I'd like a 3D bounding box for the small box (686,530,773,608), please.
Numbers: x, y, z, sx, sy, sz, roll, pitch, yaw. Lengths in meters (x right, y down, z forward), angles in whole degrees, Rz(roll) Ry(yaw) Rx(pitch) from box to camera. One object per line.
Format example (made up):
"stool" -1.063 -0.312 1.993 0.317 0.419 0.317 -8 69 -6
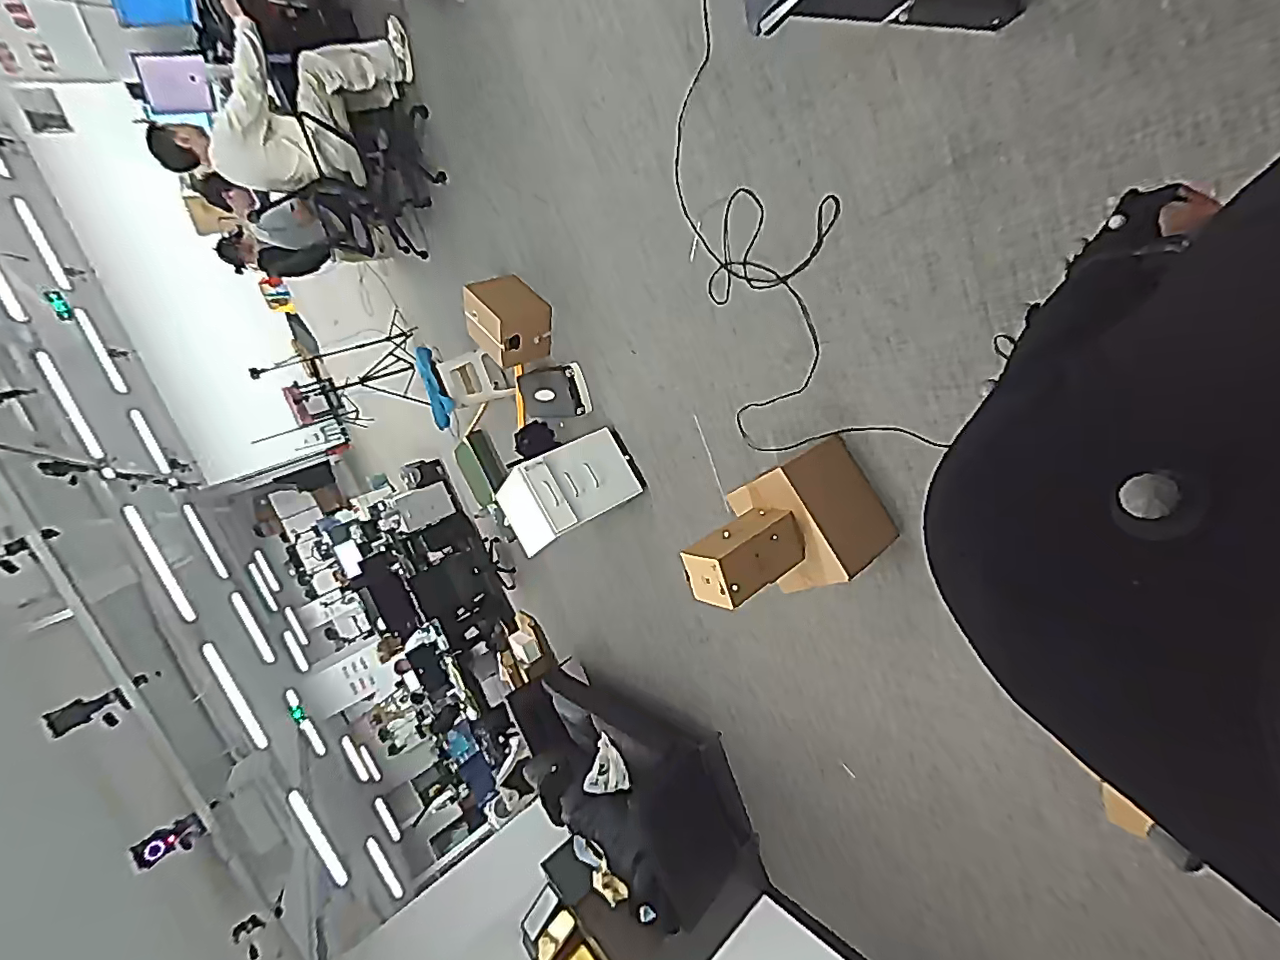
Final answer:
"small box" 0.275 0.263 1.654 0.179 0.176 0.168 1 115 57
